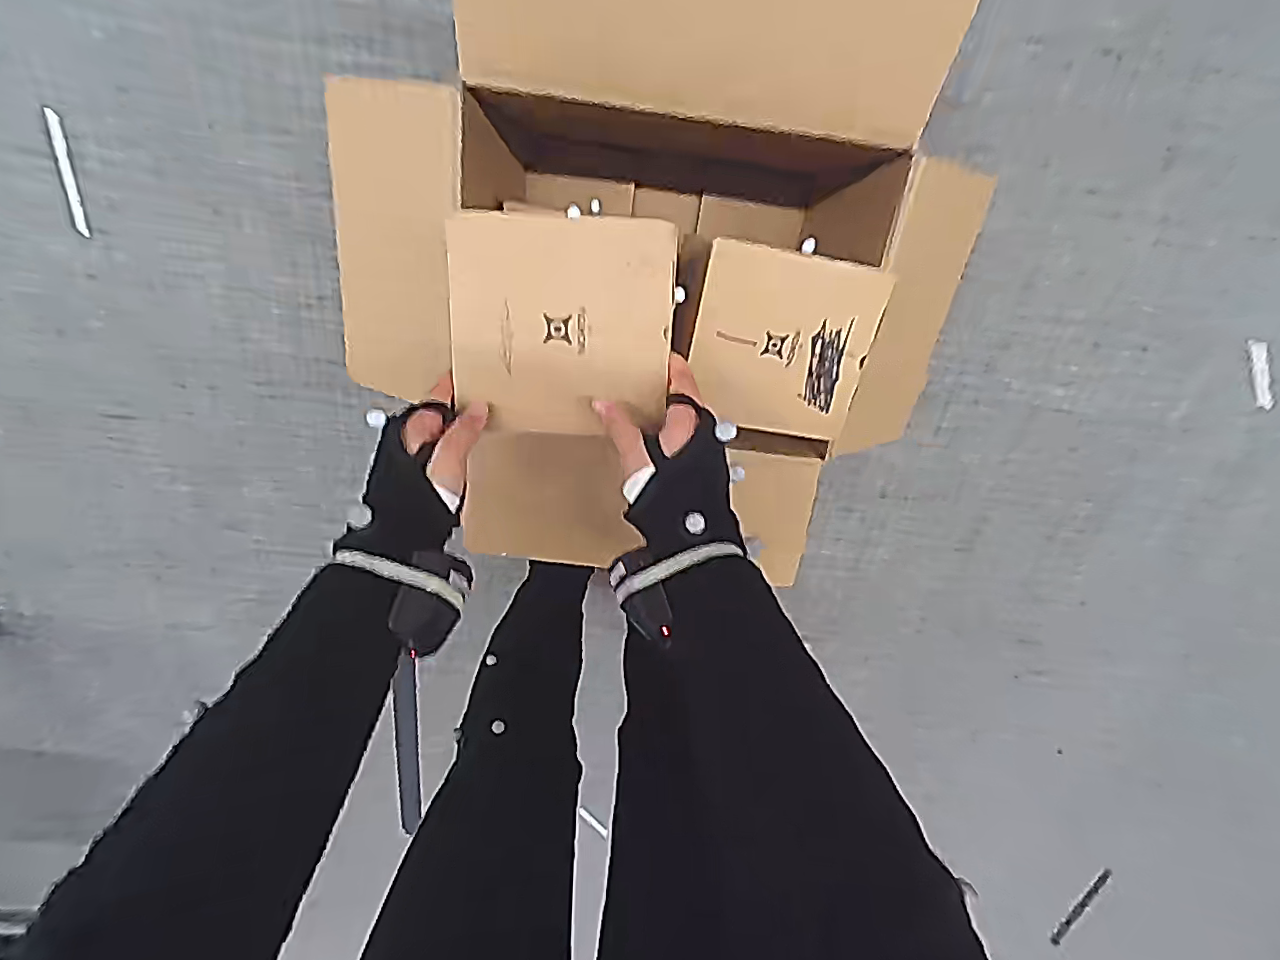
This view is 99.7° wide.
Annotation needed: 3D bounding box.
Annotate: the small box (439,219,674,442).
[{"bbox_3d":[-0.065,-0.129,0.494,0.179,0.176,0.168,0,103,-1],"label":"small box"}]
